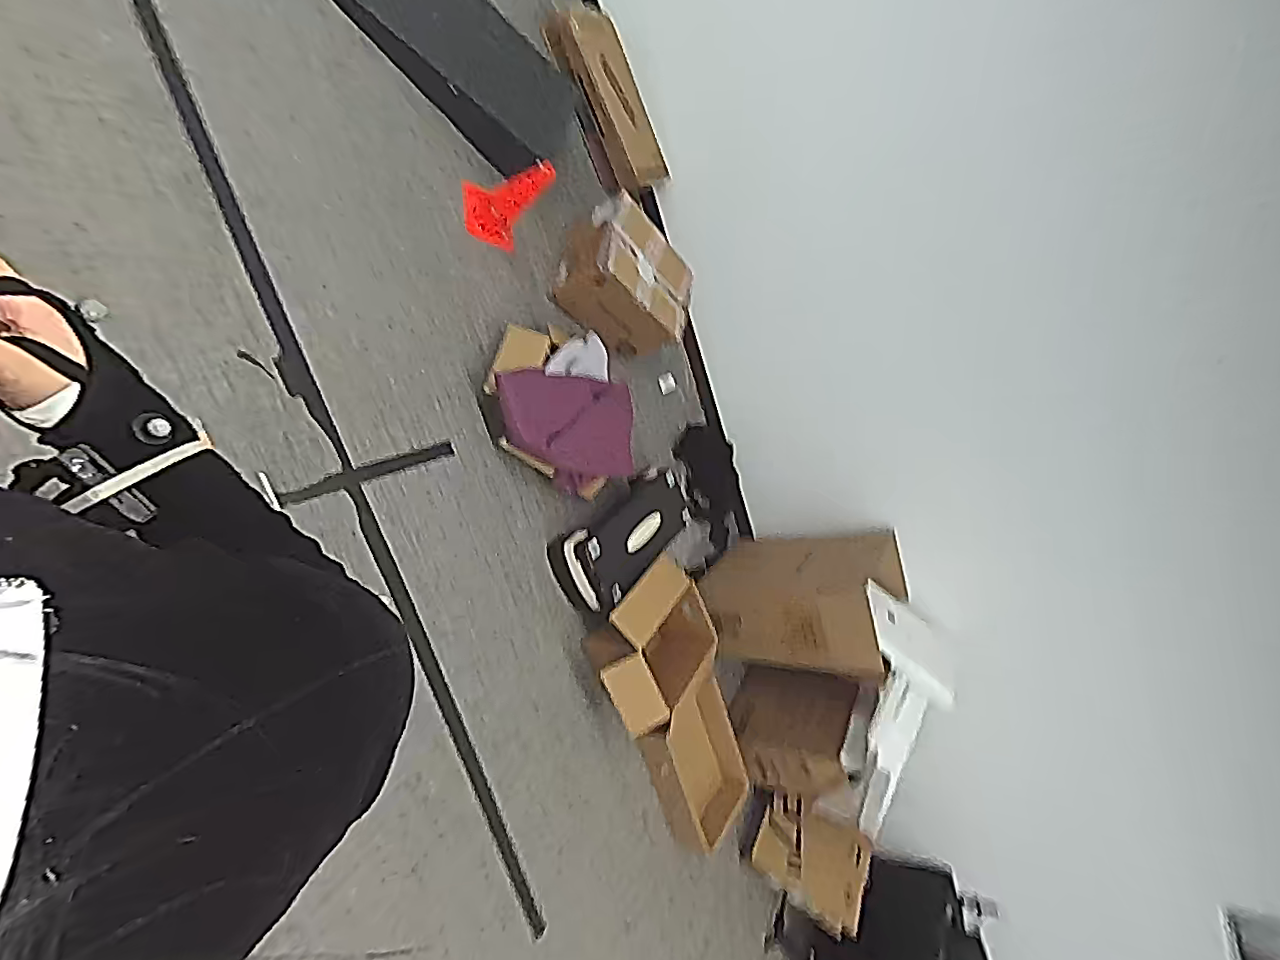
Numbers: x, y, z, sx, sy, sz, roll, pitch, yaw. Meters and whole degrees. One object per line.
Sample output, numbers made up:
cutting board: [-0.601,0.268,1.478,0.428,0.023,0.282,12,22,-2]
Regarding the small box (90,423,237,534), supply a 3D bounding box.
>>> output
small box: [-0.994,0.000,1.127,0.168,0.176,0.179,-34,109,-48]
